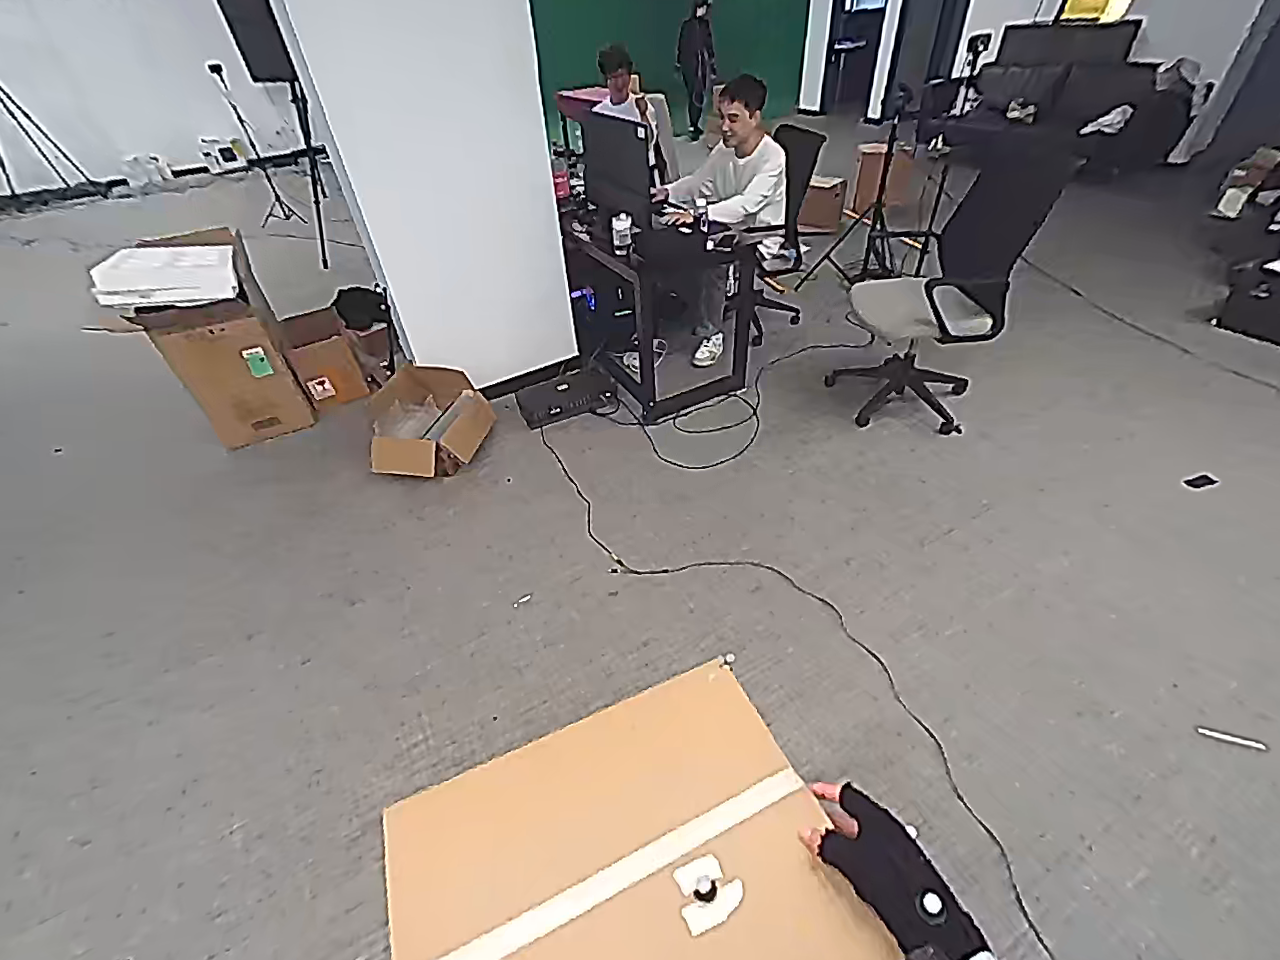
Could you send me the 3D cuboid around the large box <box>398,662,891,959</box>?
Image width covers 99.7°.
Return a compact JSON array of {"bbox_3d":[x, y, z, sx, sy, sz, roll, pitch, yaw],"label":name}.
[{"bbox_3d":[-0.009,0.493,0.619,0.408,0.320,0.320,-18,42,-16],"label":"large box"}]
